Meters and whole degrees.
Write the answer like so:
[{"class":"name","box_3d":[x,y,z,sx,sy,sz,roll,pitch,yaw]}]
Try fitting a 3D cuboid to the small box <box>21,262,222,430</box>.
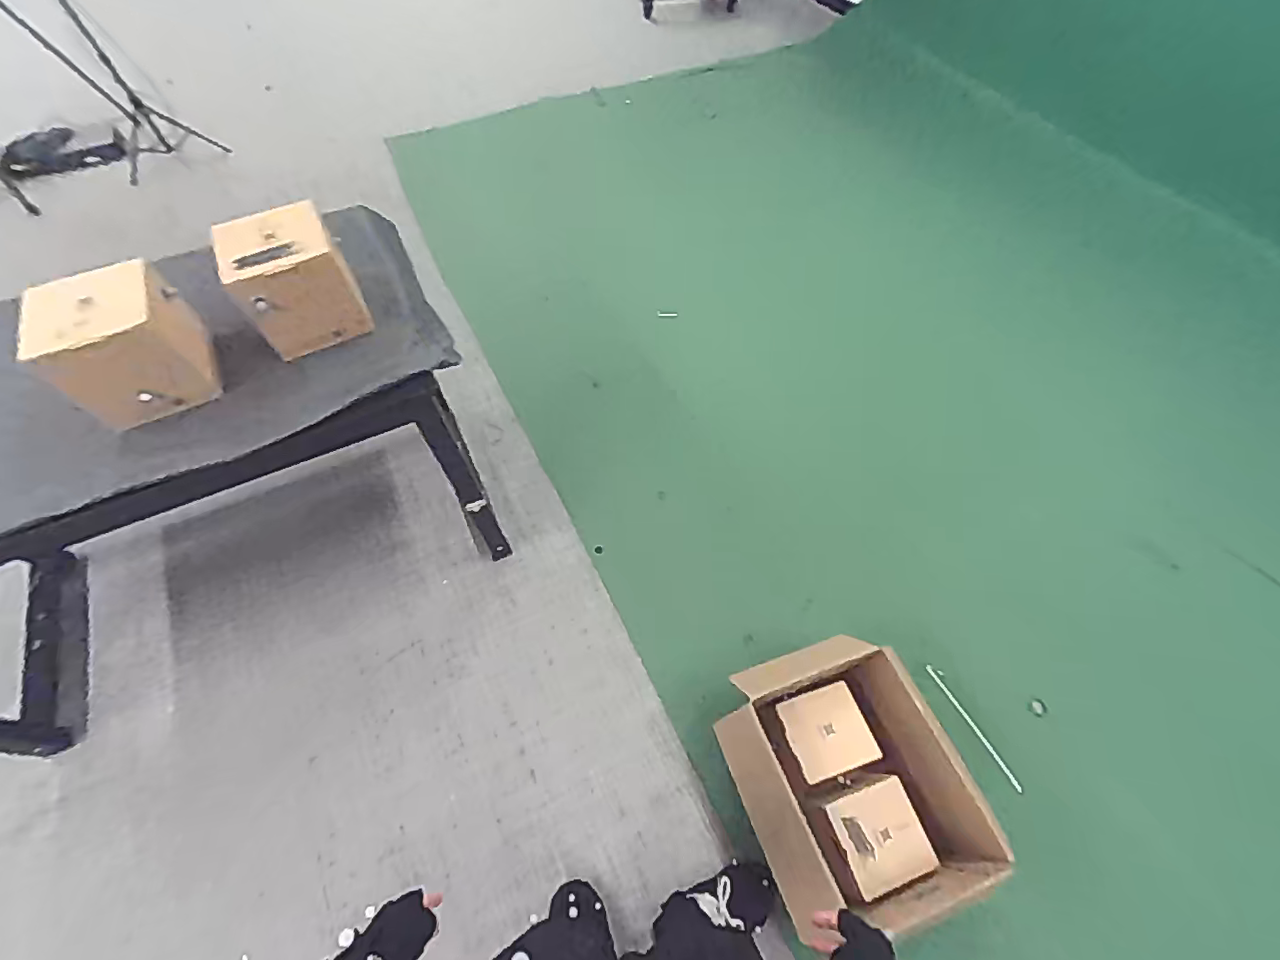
[{"class":"small box","box_3d":[-0.822,-0.213,0.875,0.168,0.176,0.179,-25,61,-14]}]
